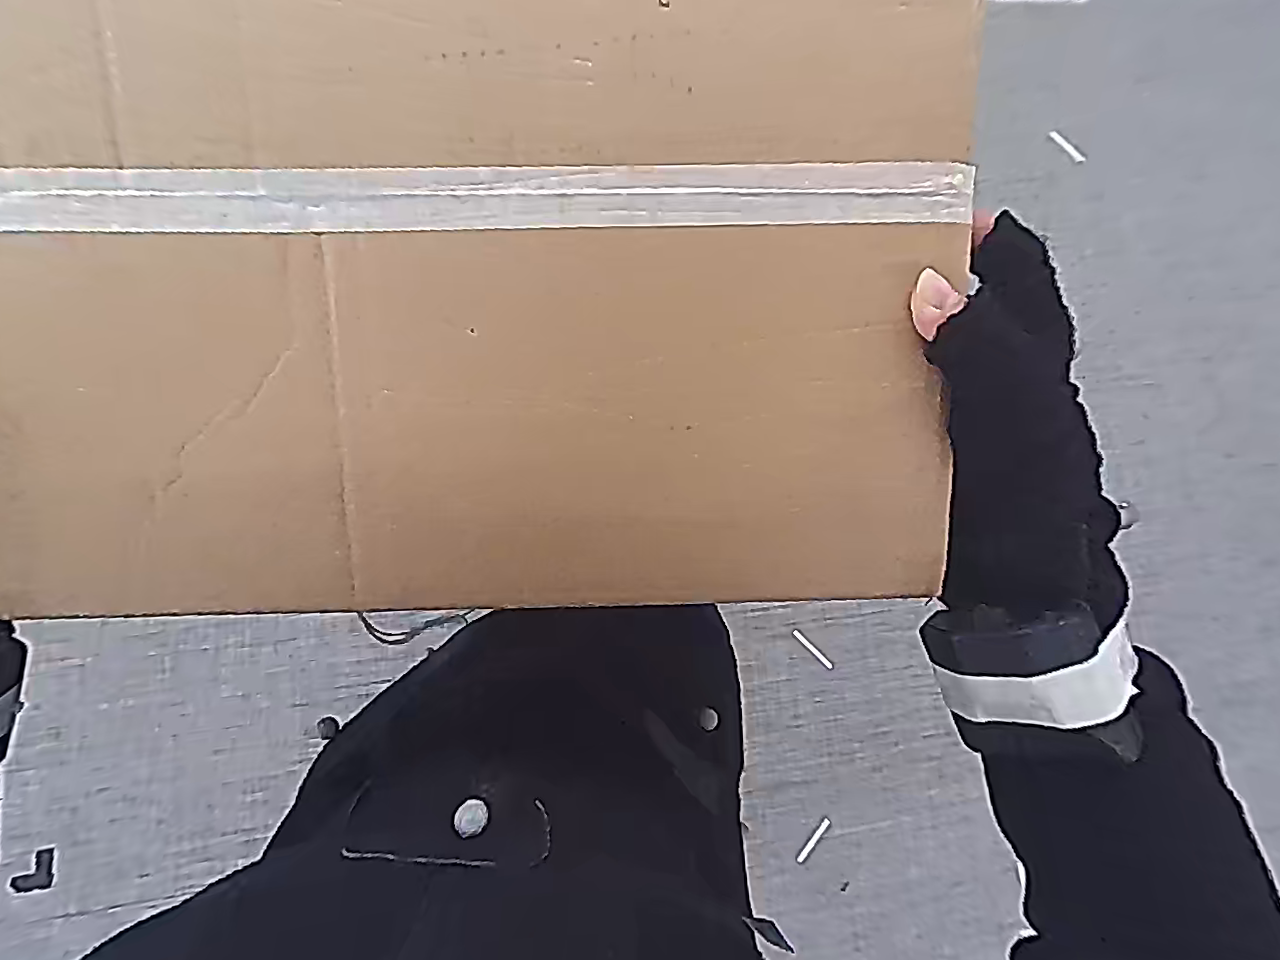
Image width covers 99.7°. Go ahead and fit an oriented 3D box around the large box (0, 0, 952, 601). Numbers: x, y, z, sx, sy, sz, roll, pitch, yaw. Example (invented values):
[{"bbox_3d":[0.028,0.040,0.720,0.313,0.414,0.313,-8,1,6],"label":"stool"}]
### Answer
[{"bbox_3d":[-0.083,-0.127,0.359,0.408,0.320,0.320,0,98,-2],"label":"large box"}]
